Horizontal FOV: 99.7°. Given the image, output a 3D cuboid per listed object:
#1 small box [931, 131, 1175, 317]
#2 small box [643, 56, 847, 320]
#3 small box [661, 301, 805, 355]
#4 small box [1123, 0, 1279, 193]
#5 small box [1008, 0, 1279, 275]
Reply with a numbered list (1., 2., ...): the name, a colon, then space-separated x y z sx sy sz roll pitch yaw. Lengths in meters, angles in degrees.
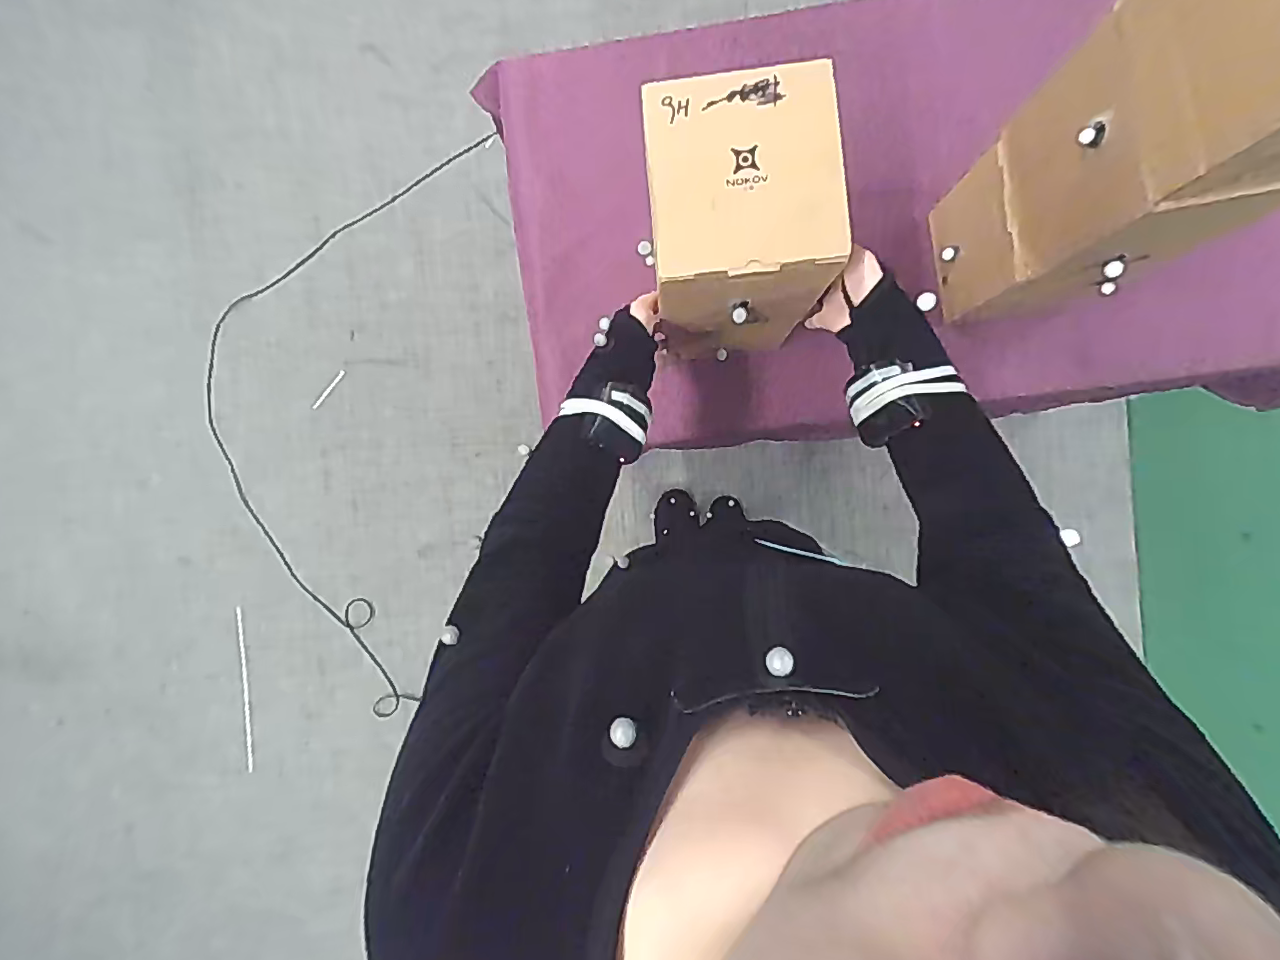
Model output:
1. small box: 0.504 -0.320 0.684 0.179 0.176 0.168 -7 88 4
2. small box: 0.095 -0.270 0.546 0.168 0.176 0.179 -5 90 3
3. small box: 0.108 -0.277 0.710 0.168 0.176 0.179 -6 90 4
4. small box: 0.477 -0.332 0.359 0.168 0.176 0.179 -10 90 4
5. small box: 0.492 -0.324 0.521 0.168 0.176 0.179 -8 90 4
